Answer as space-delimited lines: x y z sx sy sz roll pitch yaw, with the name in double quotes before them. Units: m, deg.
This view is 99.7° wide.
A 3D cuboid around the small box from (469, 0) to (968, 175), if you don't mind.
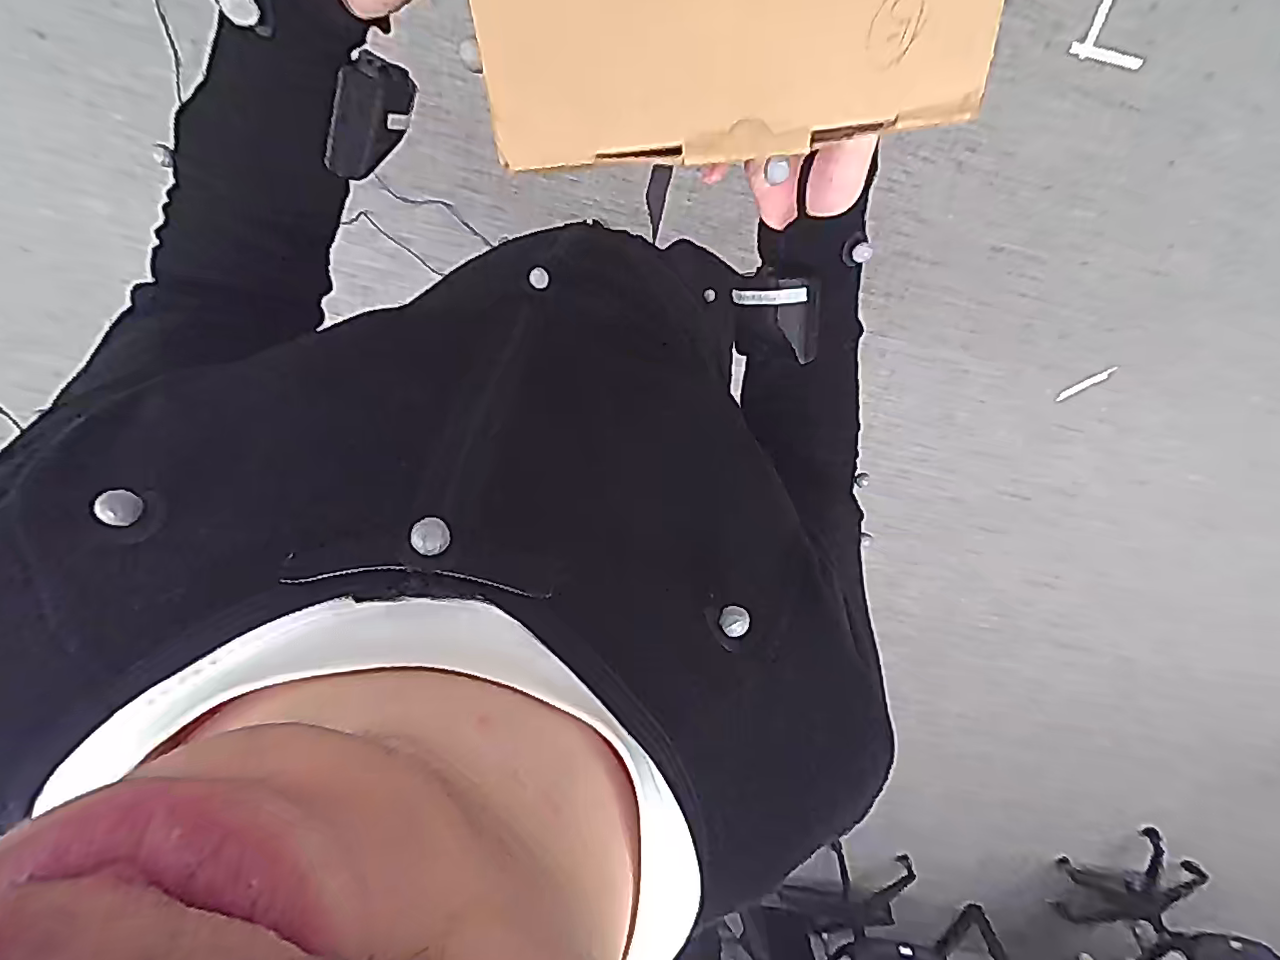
"small box" 0.015 -0.232 0.222 0.168 0.176 0.179 -9 118 -4
